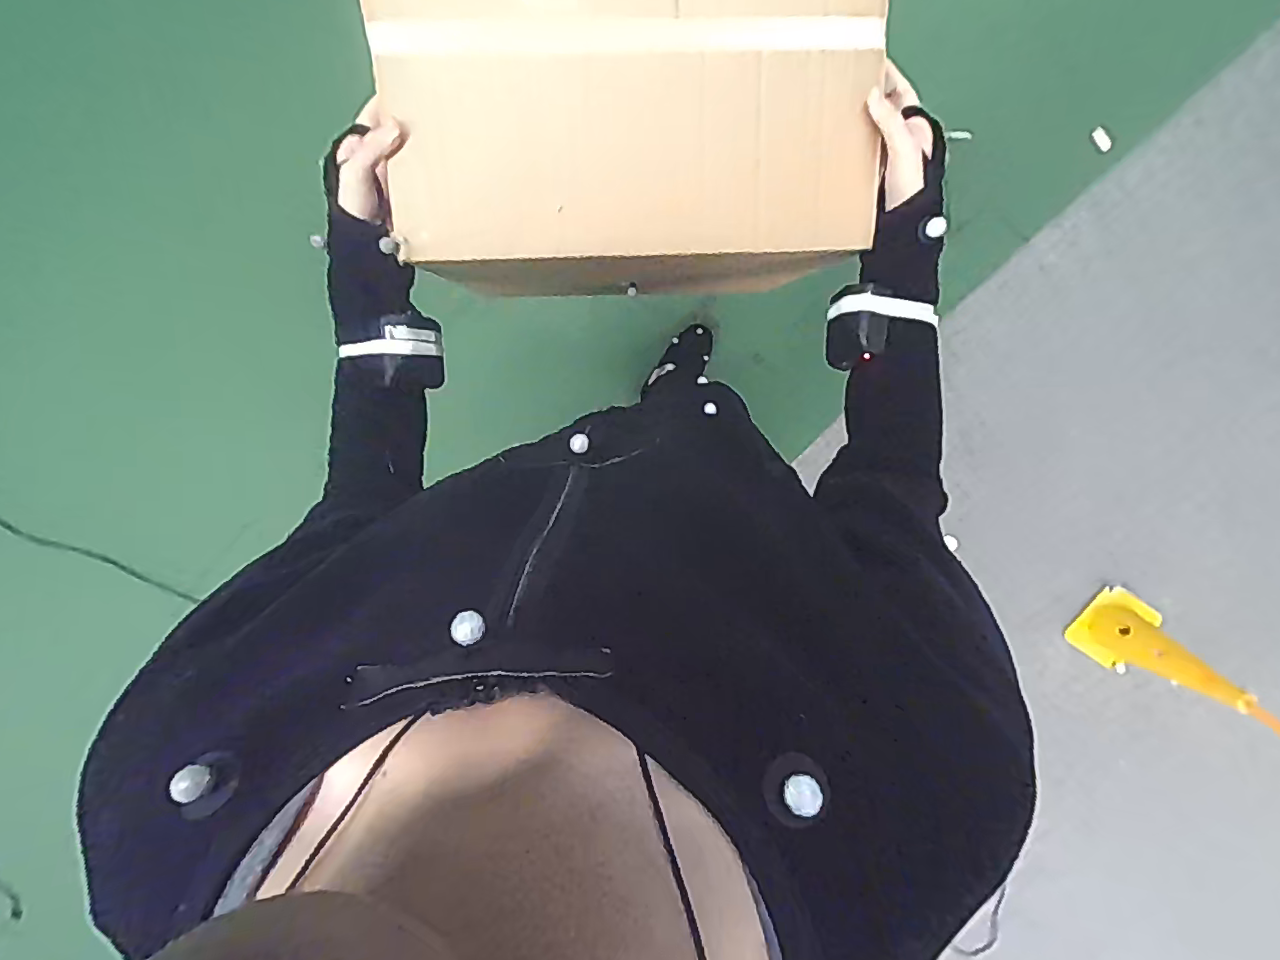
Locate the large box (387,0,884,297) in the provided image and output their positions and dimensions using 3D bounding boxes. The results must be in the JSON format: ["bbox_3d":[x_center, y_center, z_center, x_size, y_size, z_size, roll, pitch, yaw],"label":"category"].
[{"bbox_3d":[-0.005,-0.375,0.584,0.408,0.320,0.320,-2,102,-3],"label":"large box"}]
